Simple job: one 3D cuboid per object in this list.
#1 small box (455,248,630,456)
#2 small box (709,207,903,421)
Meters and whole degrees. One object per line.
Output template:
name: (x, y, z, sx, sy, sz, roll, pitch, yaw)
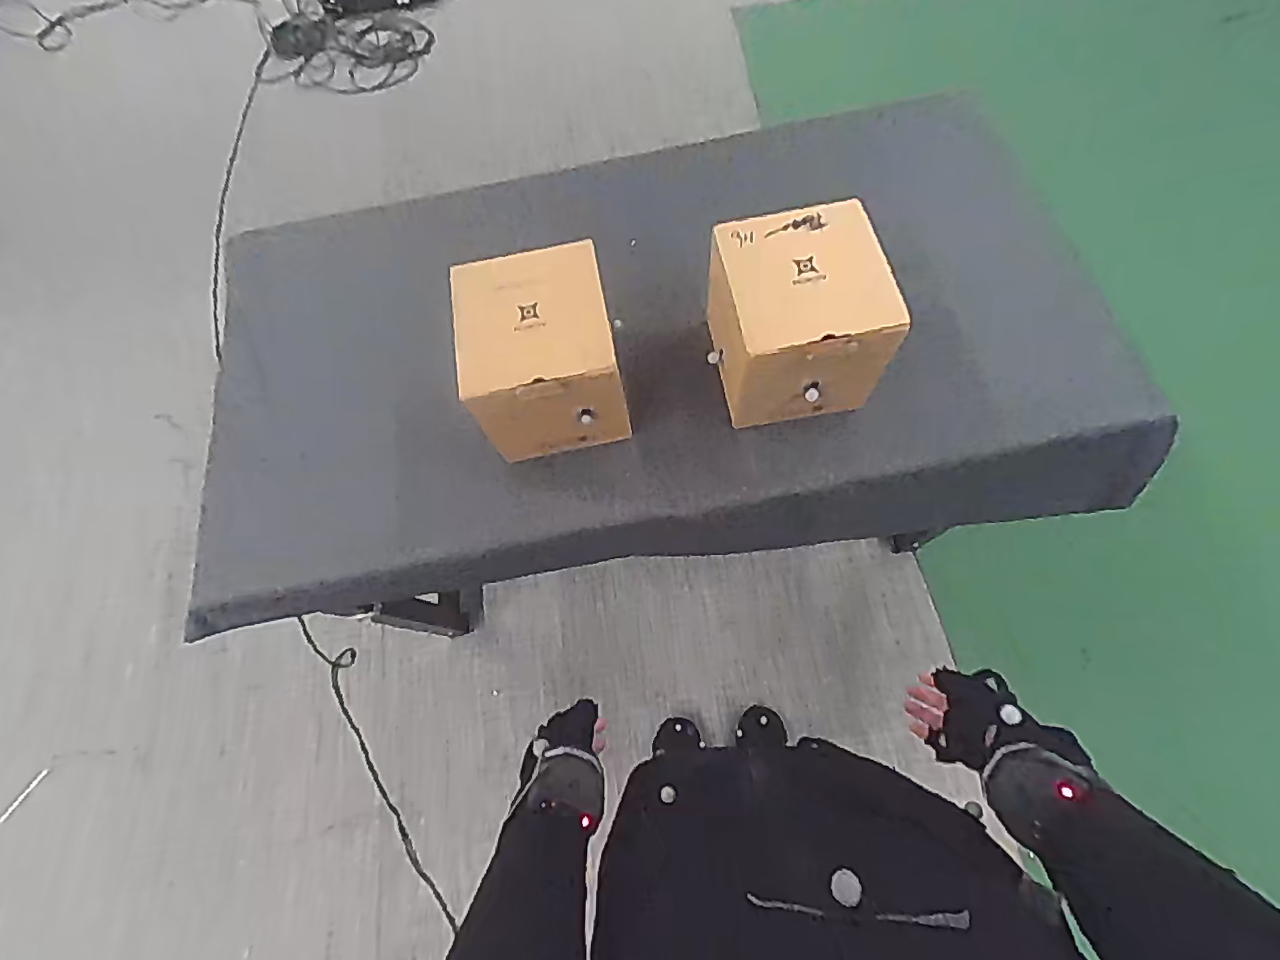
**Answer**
small box: (-0.111, -0.143, 0.660, 0.168, 0.176, 0.179, -12, 67, -1)
small box: (0.181, -0.184, 0.650, 0.168, 0.176, 0.179, -10, 69, 1)
